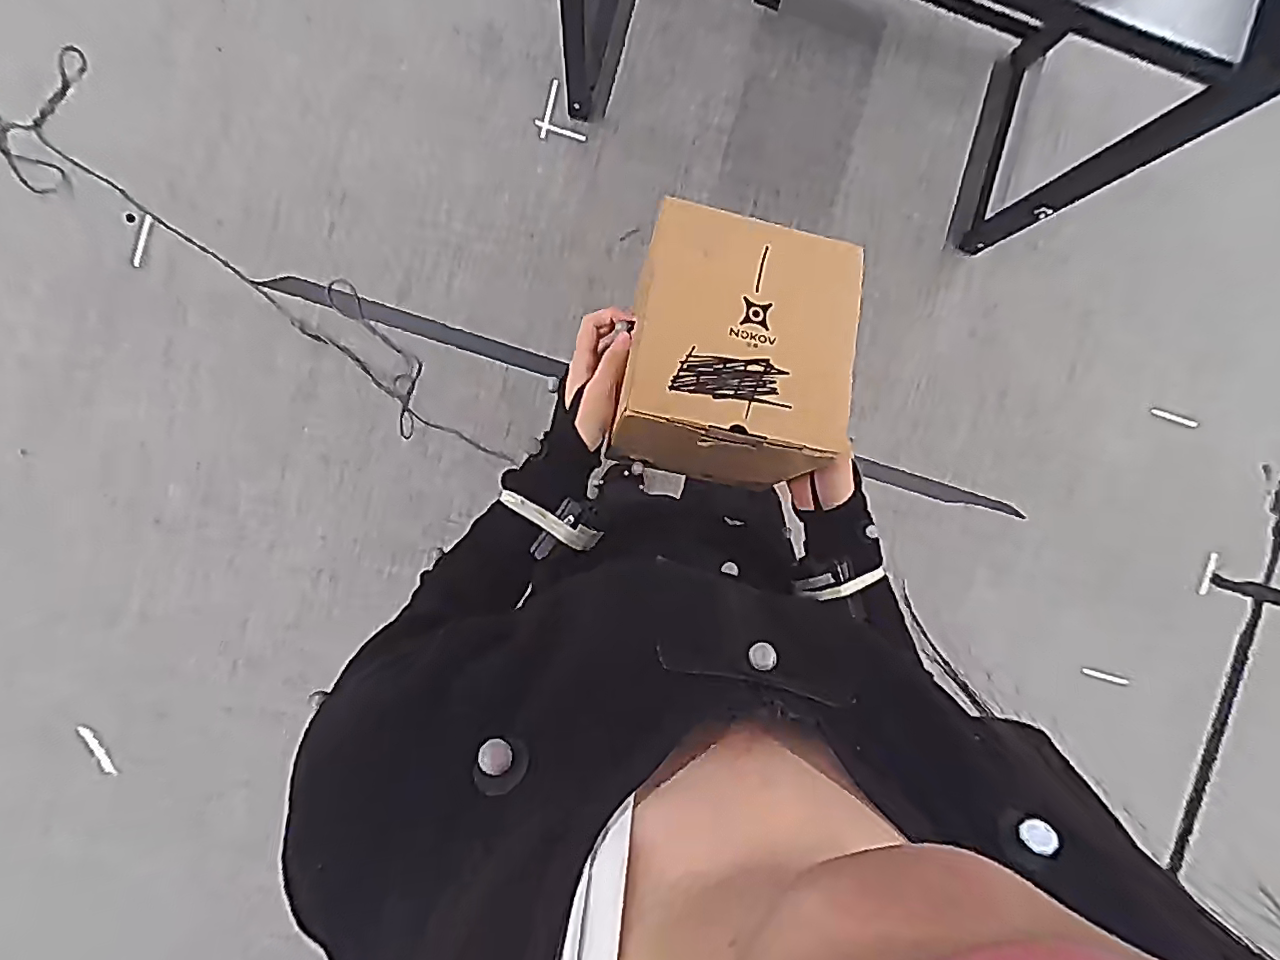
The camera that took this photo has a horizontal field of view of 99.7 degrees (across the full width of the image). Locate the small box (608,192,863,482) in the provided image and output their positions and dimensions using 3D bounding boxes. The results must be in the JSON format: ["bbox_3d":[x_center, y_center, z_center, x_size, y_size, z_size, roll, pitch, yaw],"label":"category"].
[{"bbox_3d":[0.069,-0.105,0.476,0.168,0.176,0.179,11,78,-7],"label":"small box"}]
